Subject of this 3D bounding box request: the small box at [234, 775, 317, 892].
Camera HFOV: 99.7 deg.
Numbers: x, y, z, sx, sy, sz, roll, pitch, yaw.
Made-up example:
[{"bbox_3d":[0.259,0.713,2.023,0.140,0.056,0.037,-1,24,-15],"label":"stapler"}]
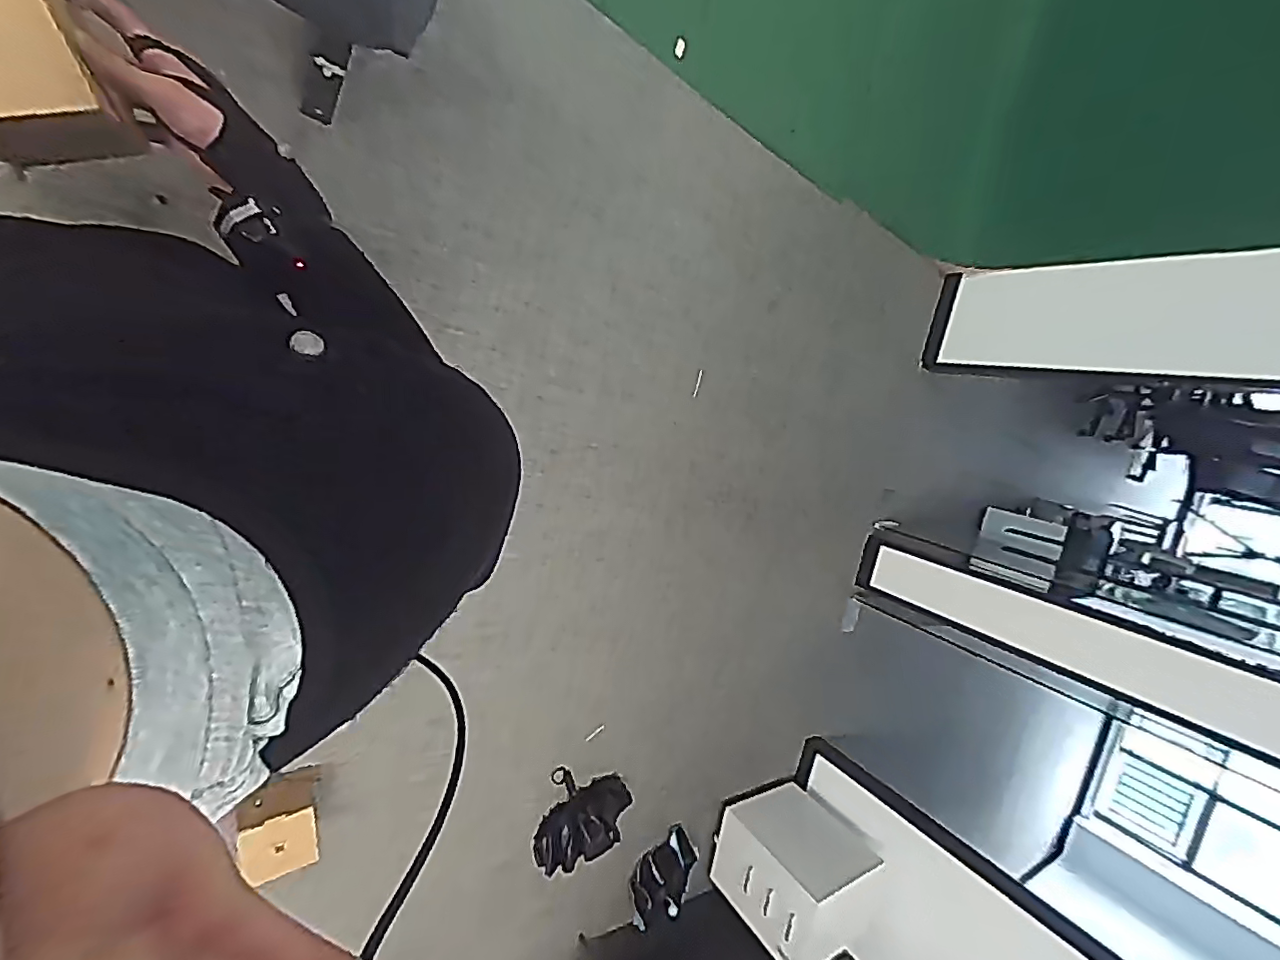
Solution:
[{"bbox_3d":[-0.969,0.925,1.440,0.168,0.176,0.179,-7,108,-32],"label":"small box"}]
